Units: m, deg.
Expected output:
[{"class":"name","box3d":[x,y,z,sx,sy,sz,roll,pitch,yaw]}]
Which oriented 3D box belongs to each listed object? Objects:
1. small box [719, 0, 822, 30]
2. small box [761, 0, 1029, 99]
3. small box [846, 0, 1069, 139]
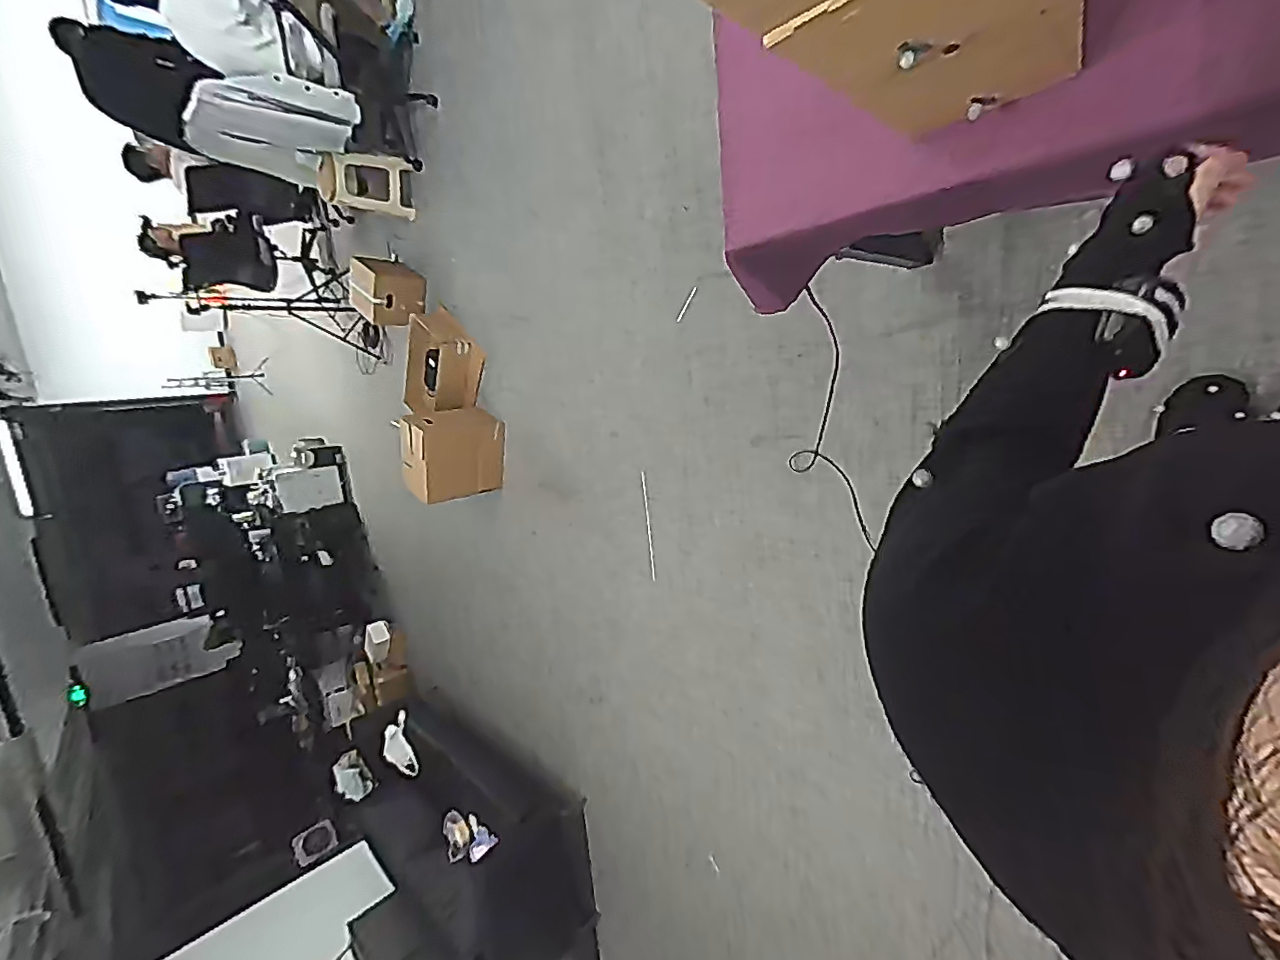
[{"class":"small box","box3d":[0.102,-0.438,0.341,0.179,0.176,0.168,8,107,45]},{"class":"small box","box3d":[0.216,-0.468,0.455,0.168,0.176,0.179,7,106,46]},{"class":"small box","box3d":[0.334,-0.494,0.568,0.179,0.176,0.168,4,103,45]}]
